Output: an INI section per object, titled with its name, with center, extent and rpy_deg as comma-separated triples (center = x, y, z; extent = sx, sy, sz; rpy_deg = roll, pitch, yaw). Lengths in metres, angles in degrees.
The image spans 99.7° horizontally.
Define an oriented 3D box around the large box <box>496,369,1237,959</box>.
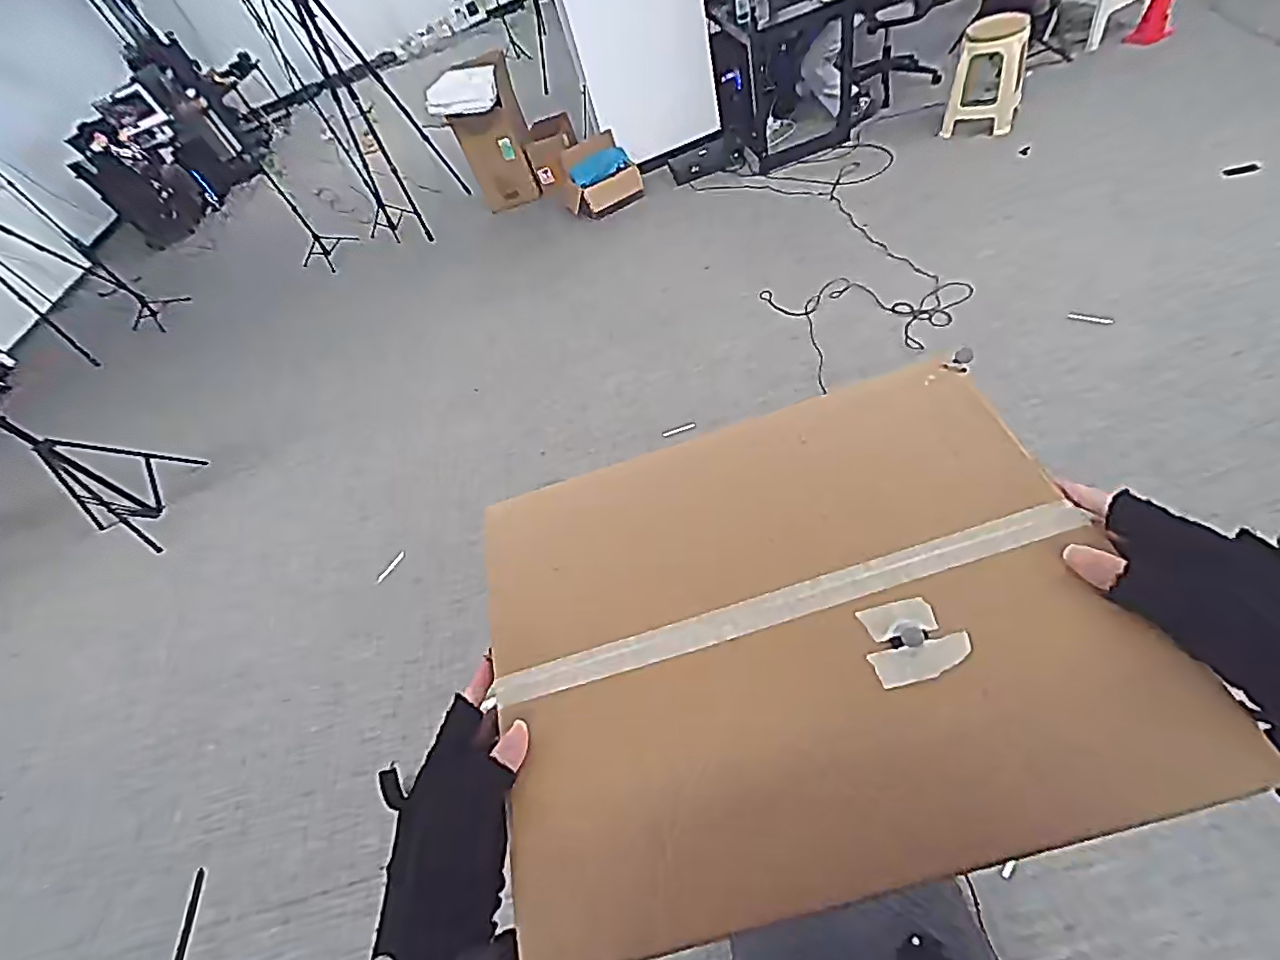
[large box]
center = 0.127, 0.167, 0.500
extent = 0.408, 0.320, 0.320
rpy_deg = -18, 57, 3
